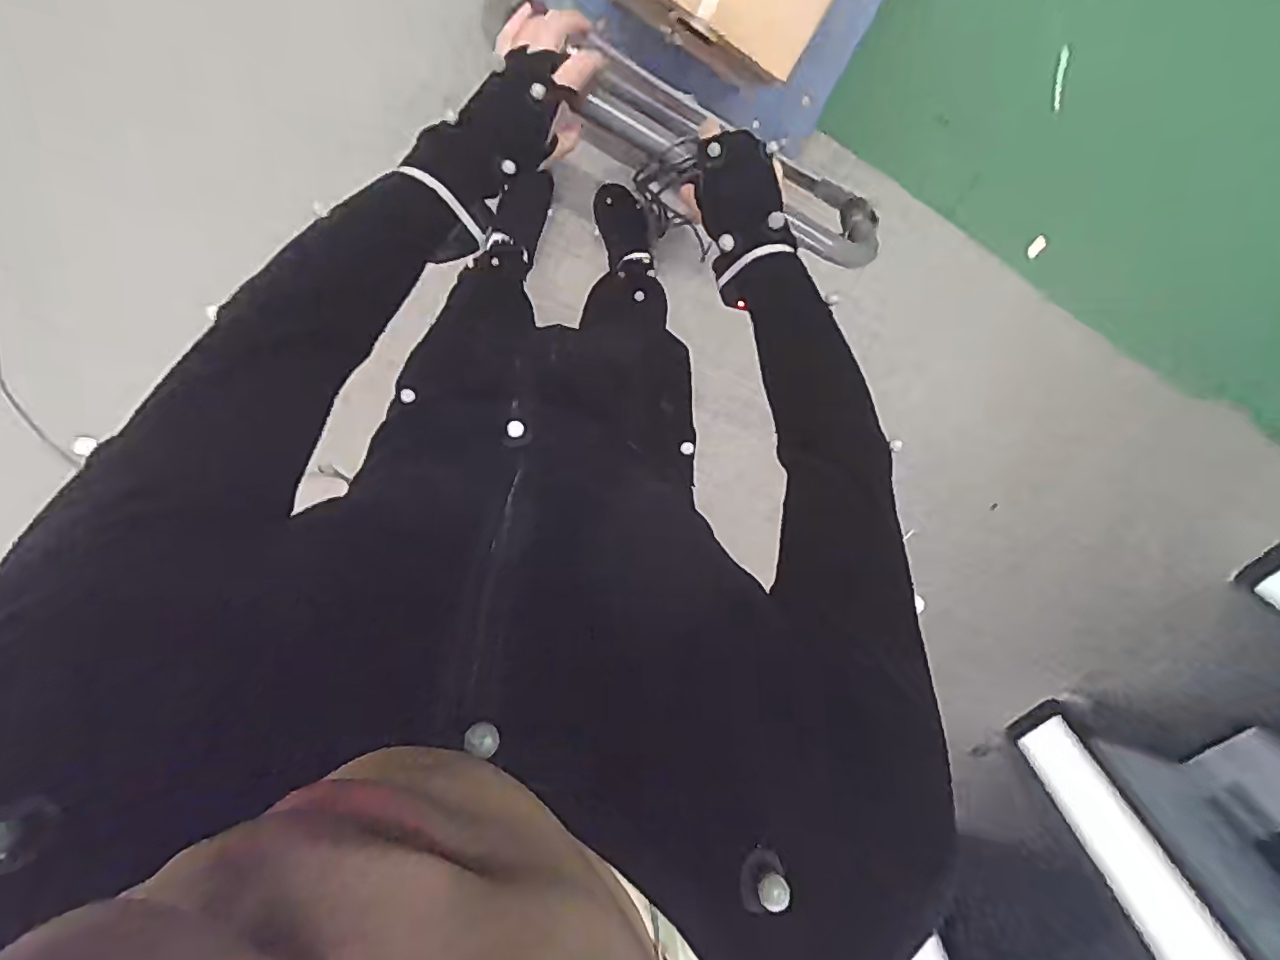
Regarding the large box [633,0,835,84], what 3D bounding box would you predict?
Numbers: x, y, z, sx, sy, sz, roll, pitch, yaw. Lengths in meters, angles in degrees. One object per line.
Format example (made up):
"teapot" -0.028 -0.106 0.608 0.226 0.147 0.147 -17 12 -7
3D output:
"large box" 0.184 -0.896 0.802 0.320 0.320 0.408 24 119 -19
